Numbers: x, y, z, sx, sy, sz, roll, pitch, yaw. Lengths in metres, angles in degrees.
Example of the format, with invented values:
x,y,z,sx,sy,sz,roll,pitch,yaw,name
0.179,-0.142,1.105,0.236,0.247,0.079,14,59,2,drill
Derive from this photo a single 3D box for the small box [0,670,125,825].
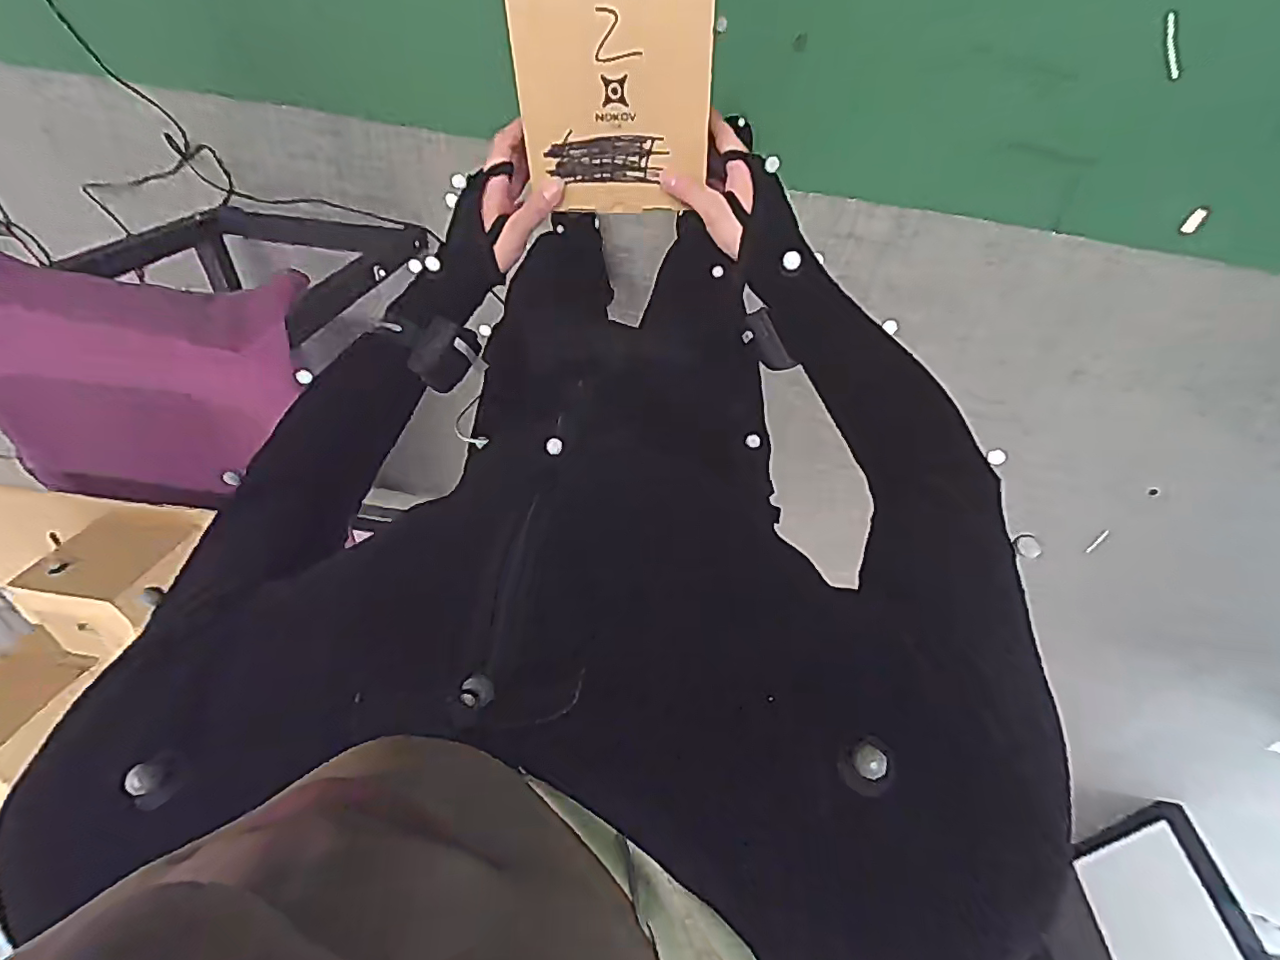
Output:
x,y,z,sx,sy,sz,roll,pitch,yaw,name
-1.042,0.438,0.902,0.179,0.176,0.168,5,126,3,small box

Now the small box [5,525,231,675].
x,y,z,sx,sy,sz,roll,pitch,yaw,name
-0.843,0.193,0.898,0.179,0.176,0.168,7,127,2,small box
